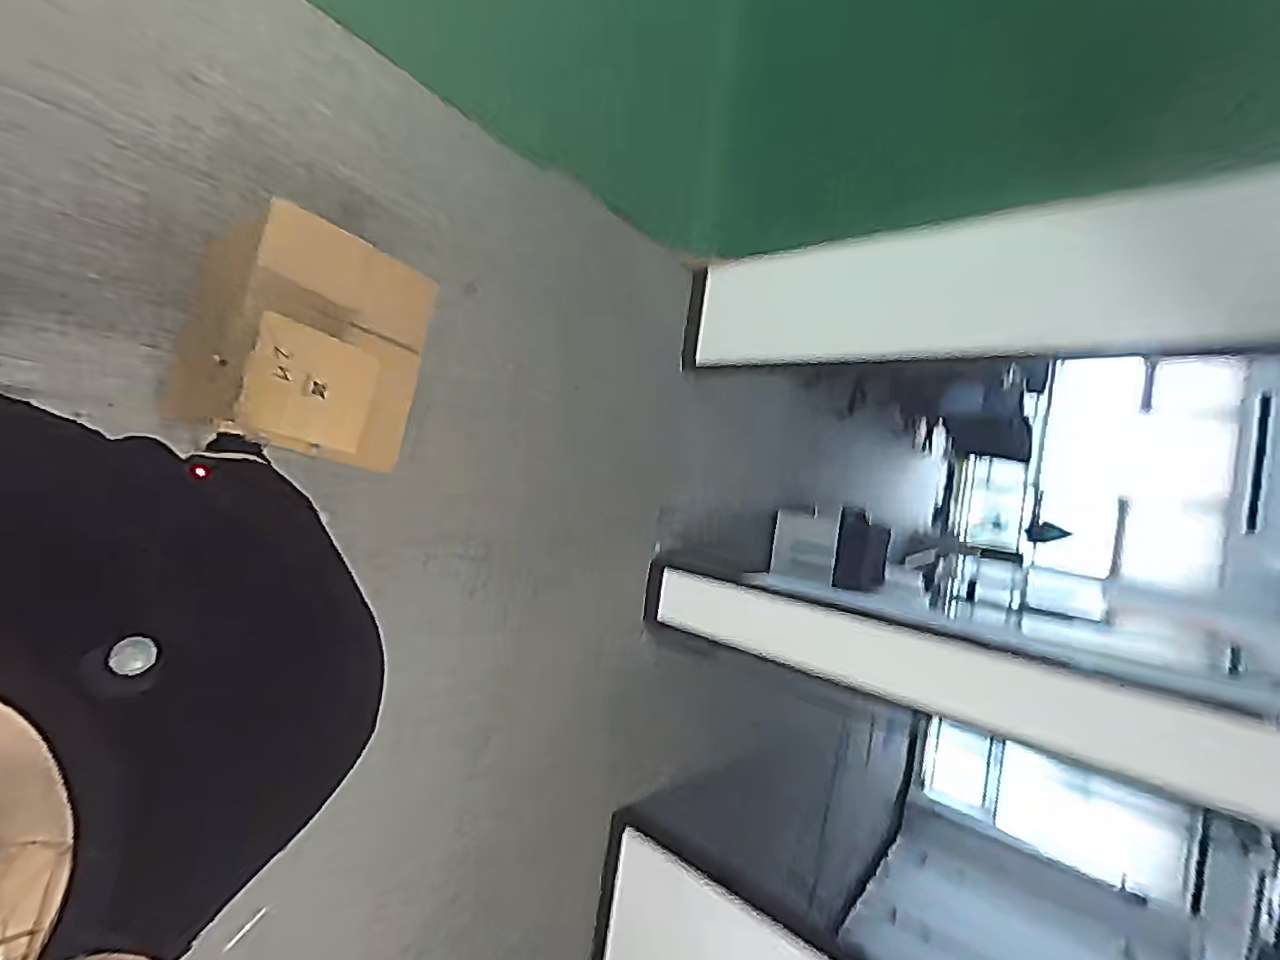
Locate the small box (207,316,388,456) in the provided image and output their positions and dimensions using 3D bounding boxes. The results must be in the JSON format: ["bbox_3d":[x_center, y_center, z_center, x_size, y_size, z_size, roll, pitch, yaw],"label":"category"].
[{"bbox_3d":[-0.548,-0.147,0.870,0.179,0.176,0.168,22,80,-50],"label":"small box"}]
